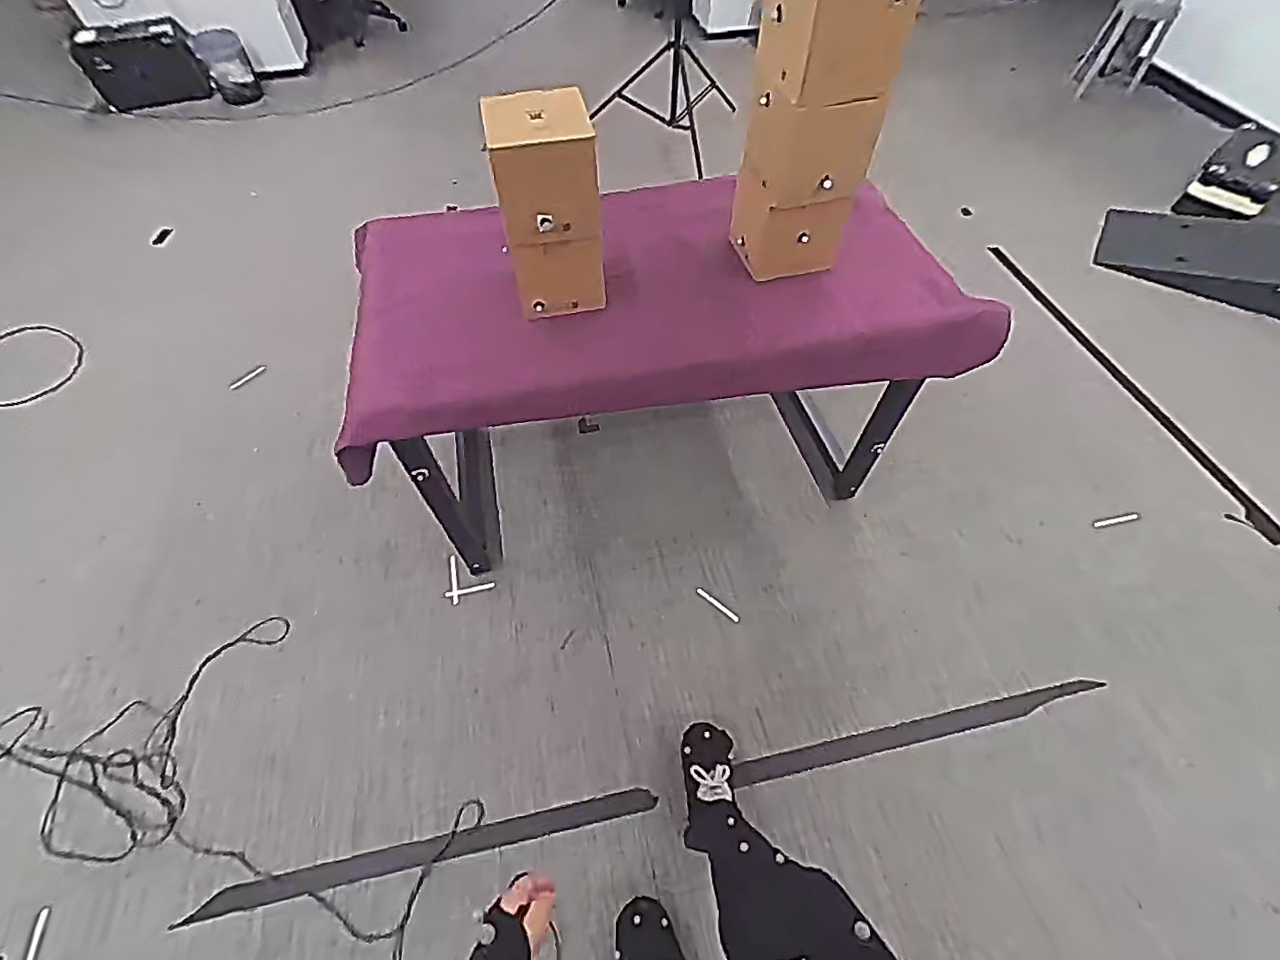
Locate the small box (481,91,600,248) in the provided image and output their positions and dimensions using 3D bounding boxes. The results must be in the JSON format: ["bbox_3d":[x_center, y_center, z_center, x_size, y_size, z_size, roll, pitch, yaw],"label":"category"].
[{"bbox_3d":[-0.166,-0.526,0.922,0.168,0.176,0.179,-12,58,-7],"label":"small box"}]

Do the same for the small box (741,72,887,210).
[{"bbox_3d":[0.304,-0.622,0.986,0.179,0.176,0.168,-15,57,-10],"label":"small box"}]

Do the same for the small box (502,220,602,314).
[{"bbox_3d":[-0.171,-0.445,1.063,0.168,0.176,0.179,-11,56,-8],"label":"small box"}]

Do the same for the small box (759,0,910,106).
[{"bbox_3d":[0.300,-0.719,0.854,0.179,0.176,0.168,-15,57,-9],"label":"small box"}]
